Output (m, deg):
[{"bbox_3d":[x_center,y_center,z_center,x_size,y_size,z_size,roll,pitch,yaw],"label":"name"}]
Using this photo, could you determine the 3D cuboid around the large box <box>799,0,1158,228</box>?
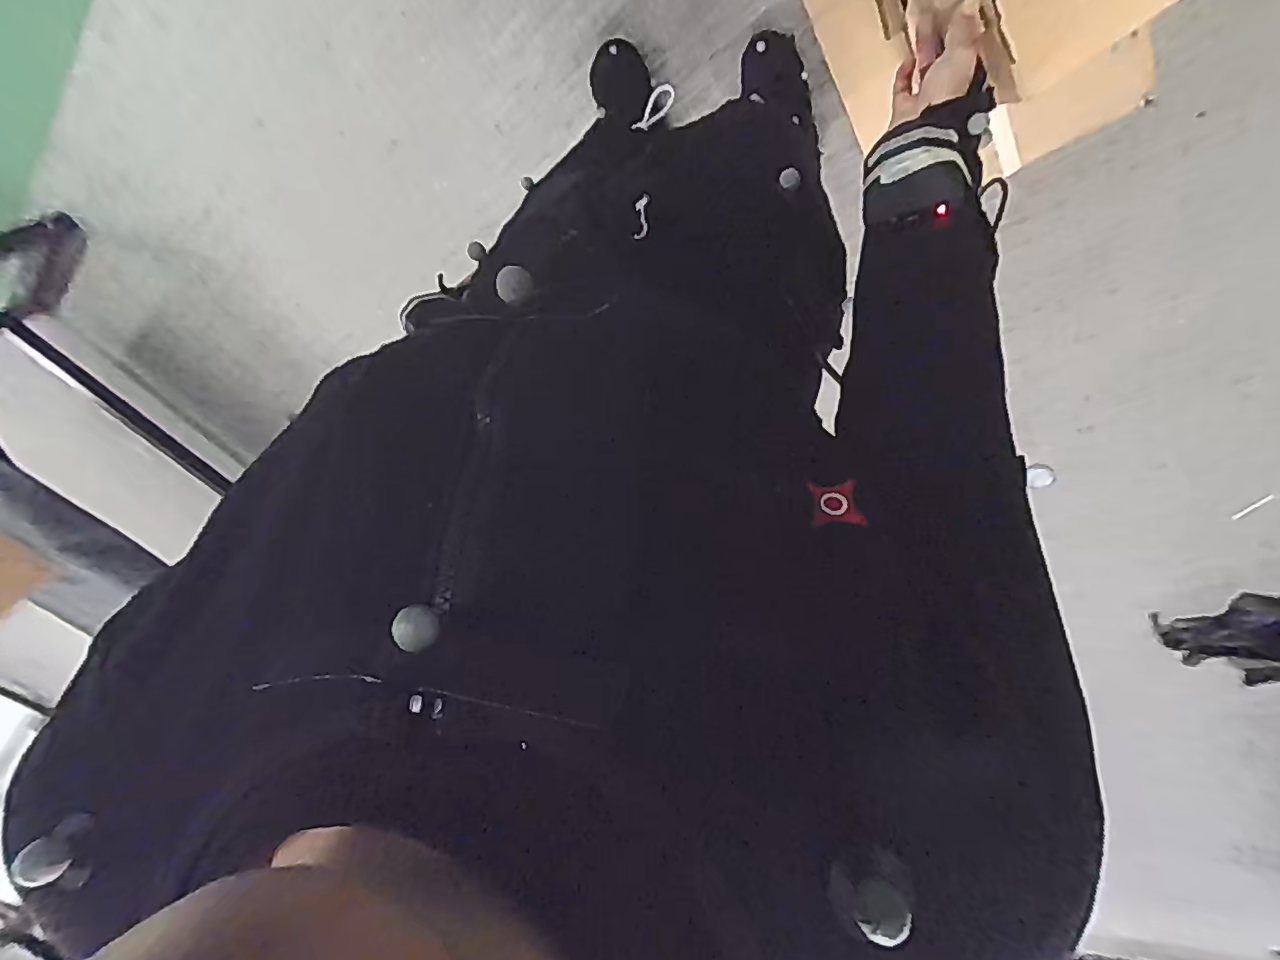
[{"bbox_3d":[0.430,-0.658,0.752,0.320,0.320,0.408,-20,125,33],"label":"large box"}]

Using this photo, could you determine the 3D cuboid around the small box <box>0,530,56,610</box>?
[{"bbox_3d":[-1.669,0.232,1.367,0.168,0.176,0.179,-12,128,29],"label":"small box"}]

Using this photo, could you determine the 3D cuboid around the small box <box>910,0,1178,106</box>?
[{"bbox_3d":[0.320,-0.424,0.407,0.179,0.176,0.168,-29,114,27],"label":"small box"}]
